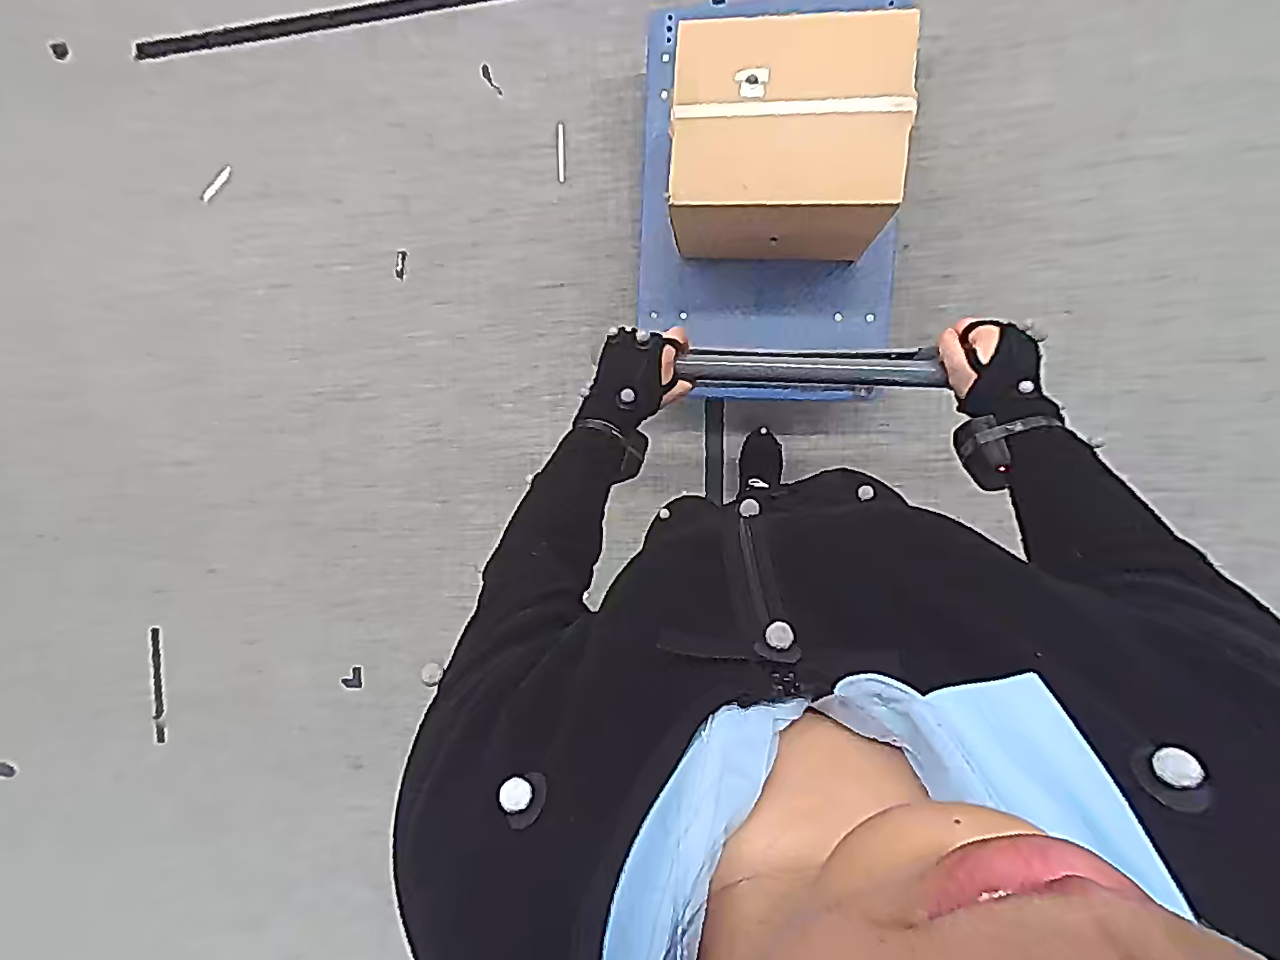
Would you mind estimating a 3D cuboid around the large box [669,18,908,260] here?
[{"bbox_3d":[0.282,-0.653,1.105,0.408,0.320,0.320,4,94,9],"label":"large box"}]
